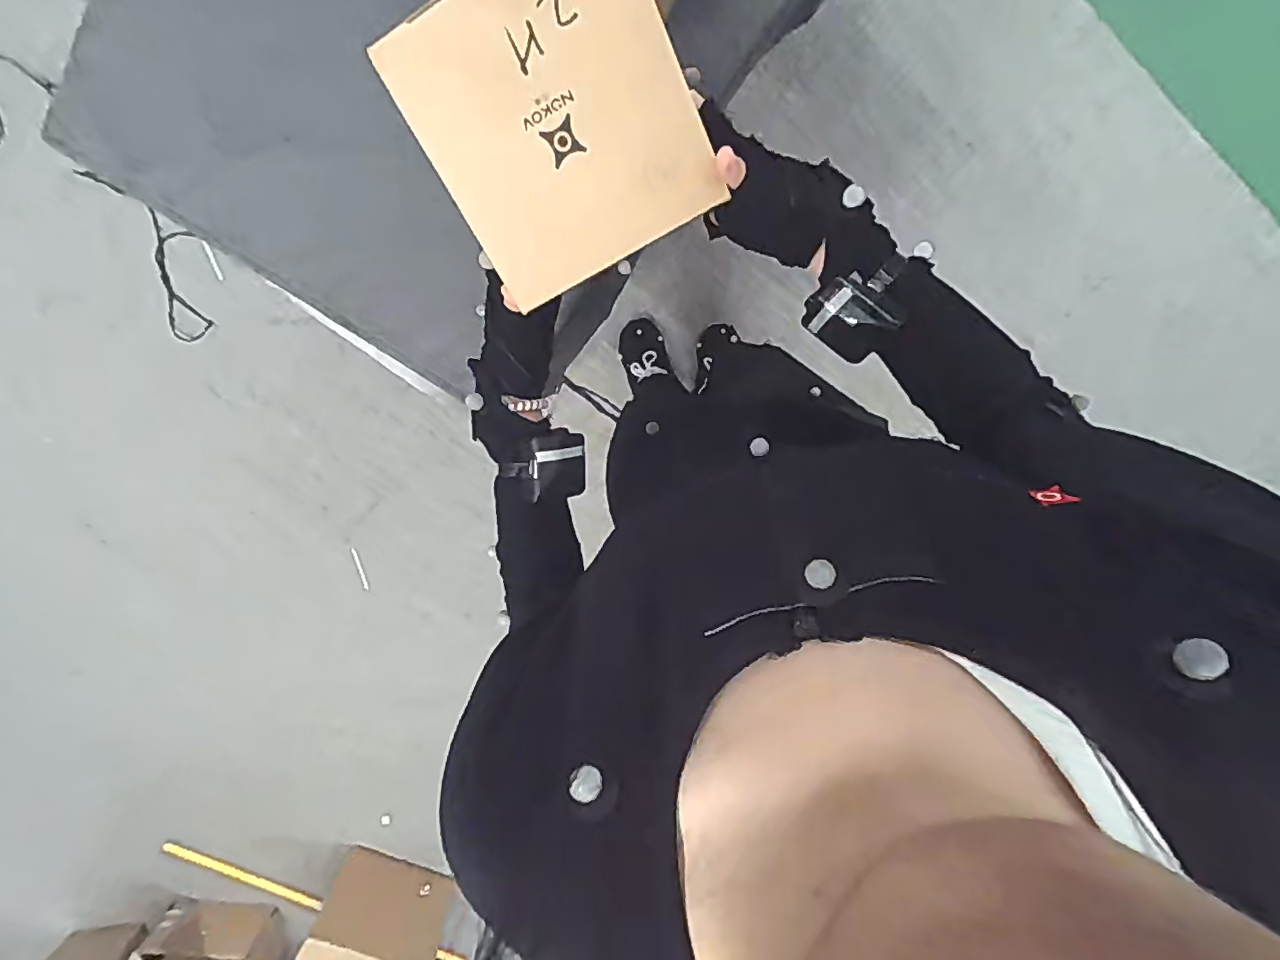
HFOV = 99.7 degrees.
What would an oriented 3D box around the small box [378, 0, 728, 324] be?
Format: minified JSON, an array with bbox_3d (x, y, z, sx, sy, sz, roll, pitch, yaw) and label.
[{"bbox_3d":[-0.048,-0.248,0.413,0.168,0.176,0.179,-24,113,11],"label":"small box"}]
